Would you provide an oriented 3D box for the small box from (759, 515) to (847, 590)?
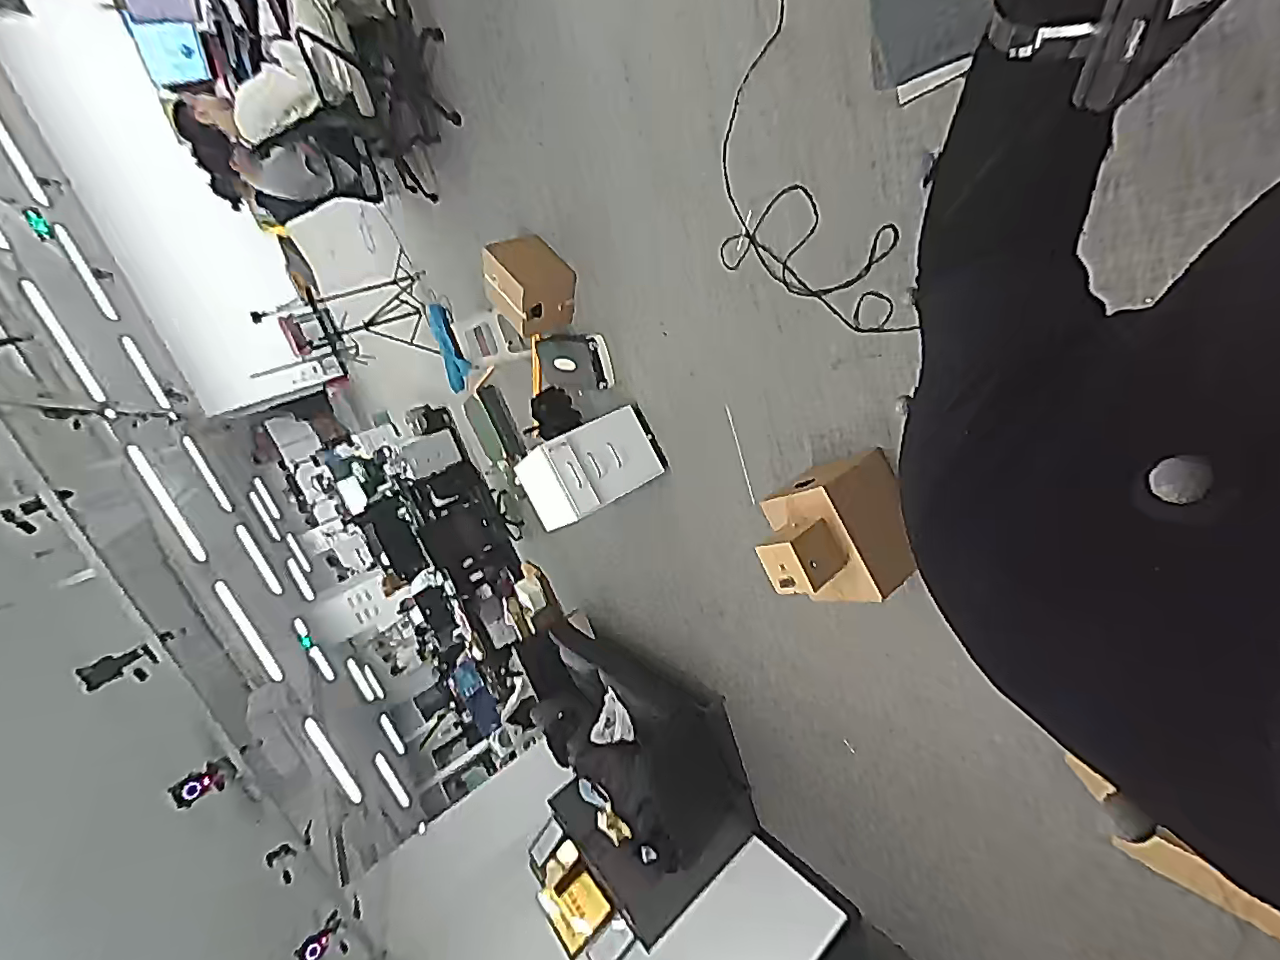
[{"bbox_3d":[0.521,0.232,1.718,0.168,0.176,0.179,-23,94,60],"label":"small box"}]
